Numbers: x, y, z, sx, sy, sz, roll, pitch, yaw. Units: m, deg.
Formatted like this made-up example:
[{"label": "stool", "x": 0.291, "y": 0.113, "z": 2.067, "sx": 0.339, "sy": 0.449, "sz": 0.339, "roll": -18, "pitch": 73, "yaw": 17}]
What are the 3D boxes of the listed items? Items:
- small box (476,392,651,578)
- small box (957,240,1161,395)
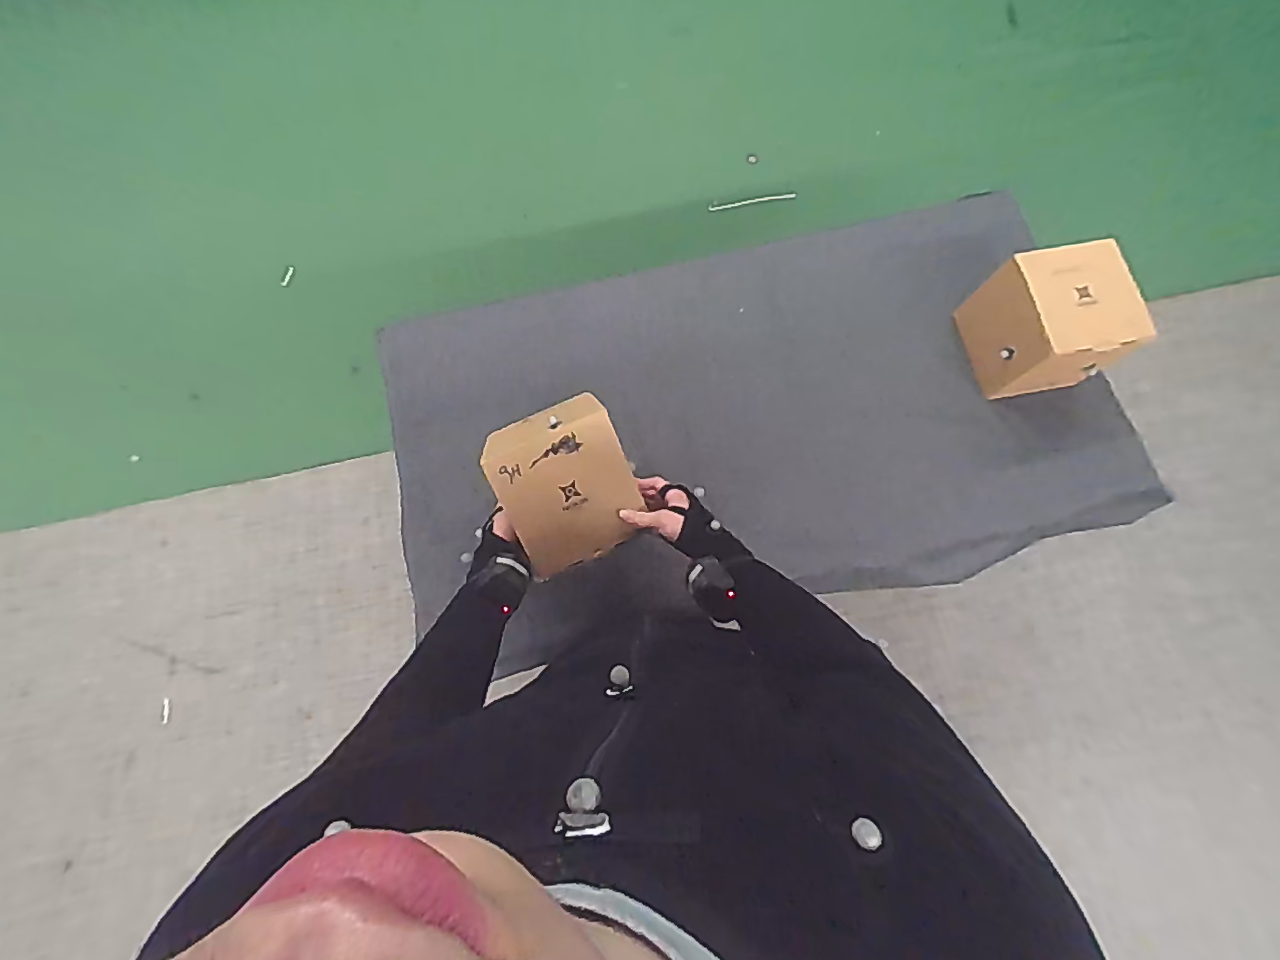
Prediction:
[{"label": "small box", "x": -0.102, "y": -0.004, "z": 0.739, "sx": 0.168, "sy": 0.176, "sz": 0.179, "roll": -25, "pitch": 110, "yaw": -4}, {"label": "small box", "x": 0.661, "y": -0.252, "z": 0.879, "sx": 0.168, "sy": 0.176, "sz": 0.179, "roll": -10, "pitch": 74, "yaw": -4}]
